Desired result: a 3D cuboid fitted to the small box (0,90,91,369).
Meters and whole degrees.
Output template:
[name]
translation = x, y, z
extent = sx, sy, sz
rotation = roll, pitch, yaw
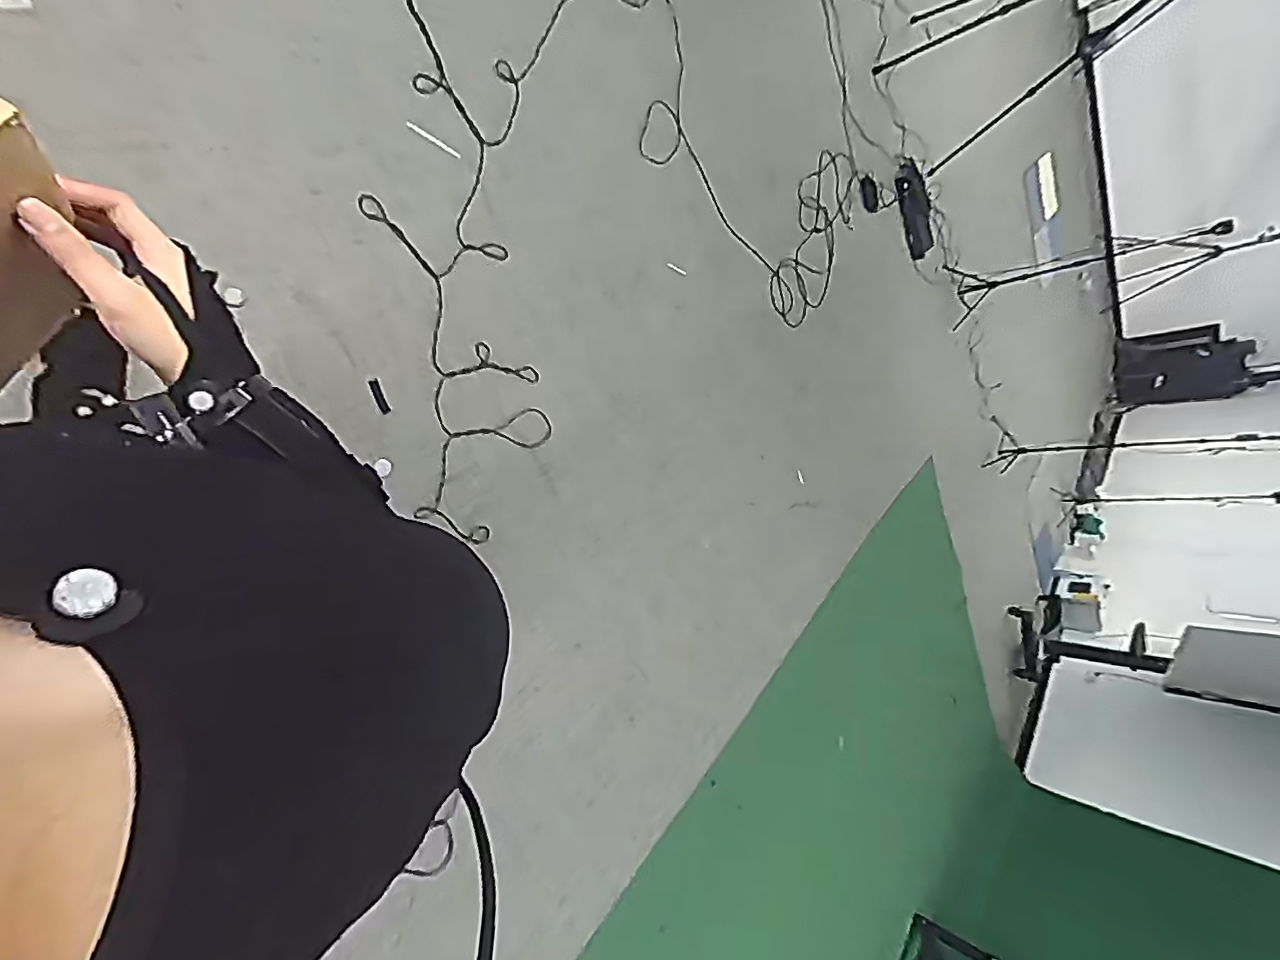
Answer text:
[small box]
translation = -0.414, -0.123, 0.245
extent = 0.168, 0.176, 0.179
rotation = 32, 66, -27
